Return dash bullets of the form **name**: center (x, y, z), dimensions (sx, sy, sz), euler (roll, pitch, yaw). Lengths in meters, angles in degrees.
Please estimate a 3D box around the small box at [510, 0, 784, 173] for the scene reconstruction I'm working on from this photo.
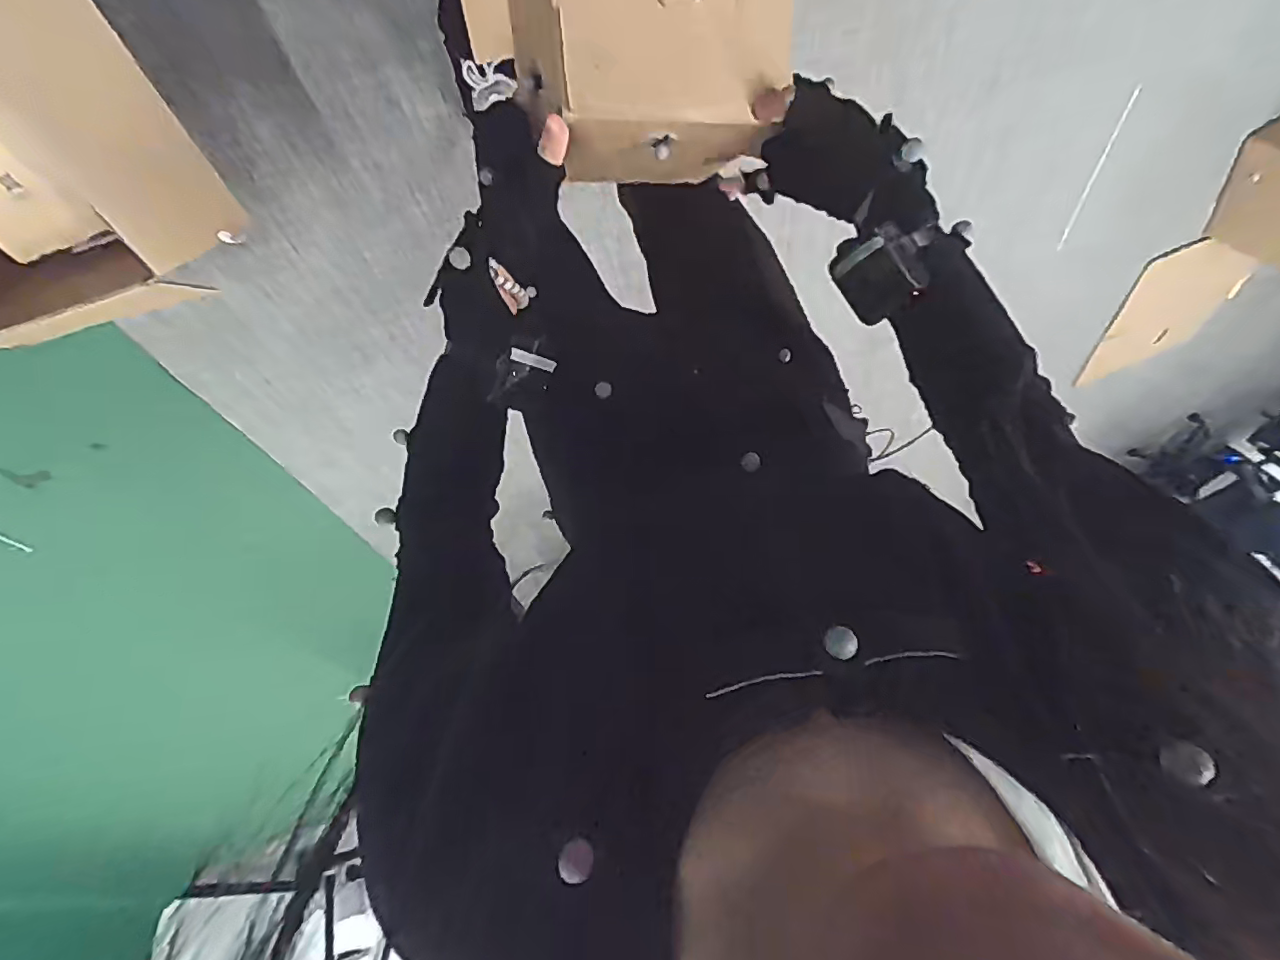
- **small box**: center (-0.005, -0.358, 0.433), dimensions (0.179, 0.176, 0.168), euler (-10, 107, -17)
